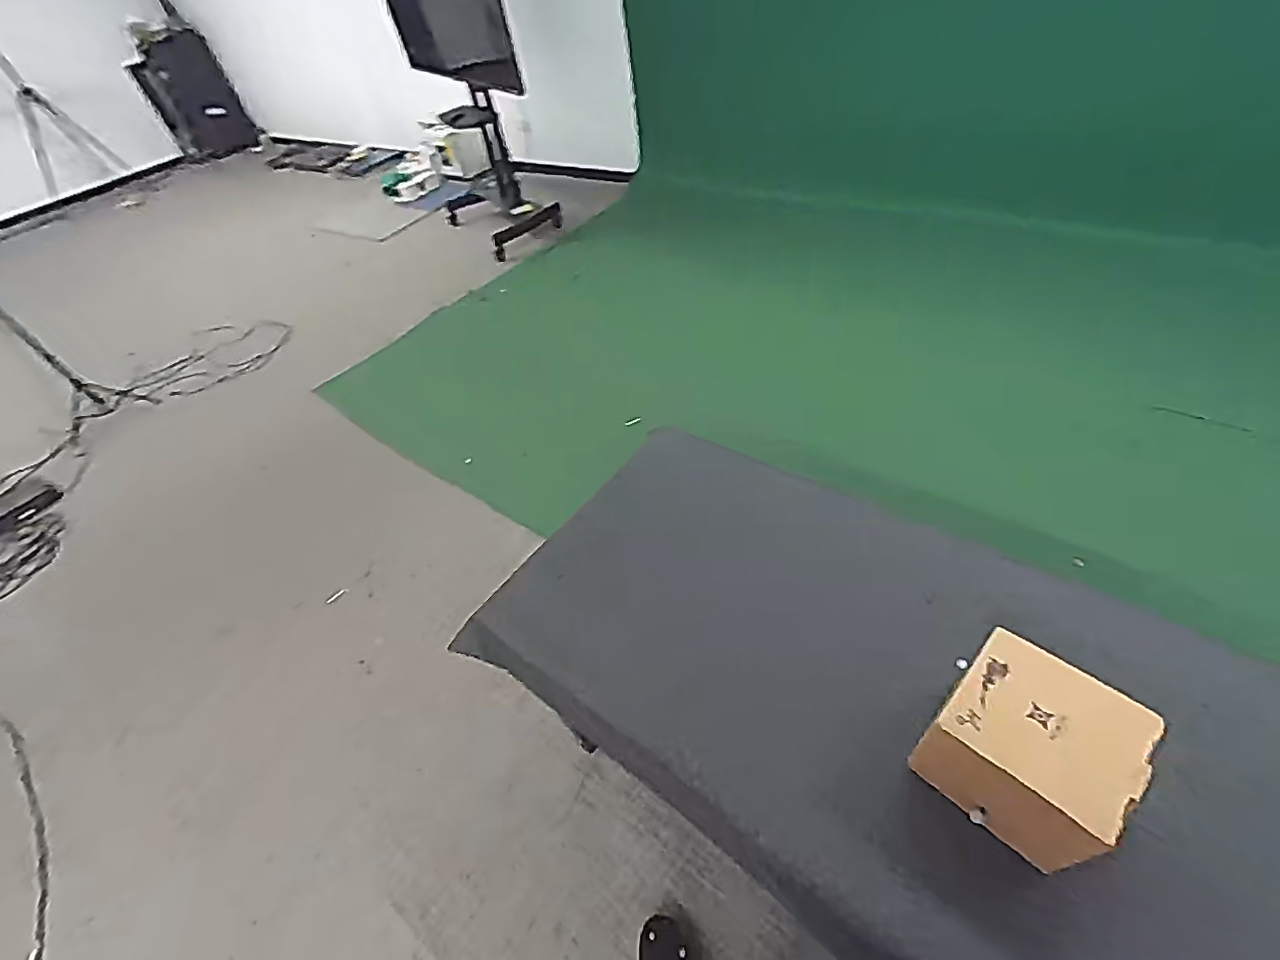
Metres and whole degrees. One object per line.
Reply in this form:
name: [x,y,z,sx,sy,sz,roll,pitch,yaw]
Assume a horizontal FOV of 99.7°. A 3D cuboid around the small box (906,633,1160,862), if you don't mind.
small box: [0.465,0.332,0.666,0.168,0.176,0.179,-39,53,-23]
